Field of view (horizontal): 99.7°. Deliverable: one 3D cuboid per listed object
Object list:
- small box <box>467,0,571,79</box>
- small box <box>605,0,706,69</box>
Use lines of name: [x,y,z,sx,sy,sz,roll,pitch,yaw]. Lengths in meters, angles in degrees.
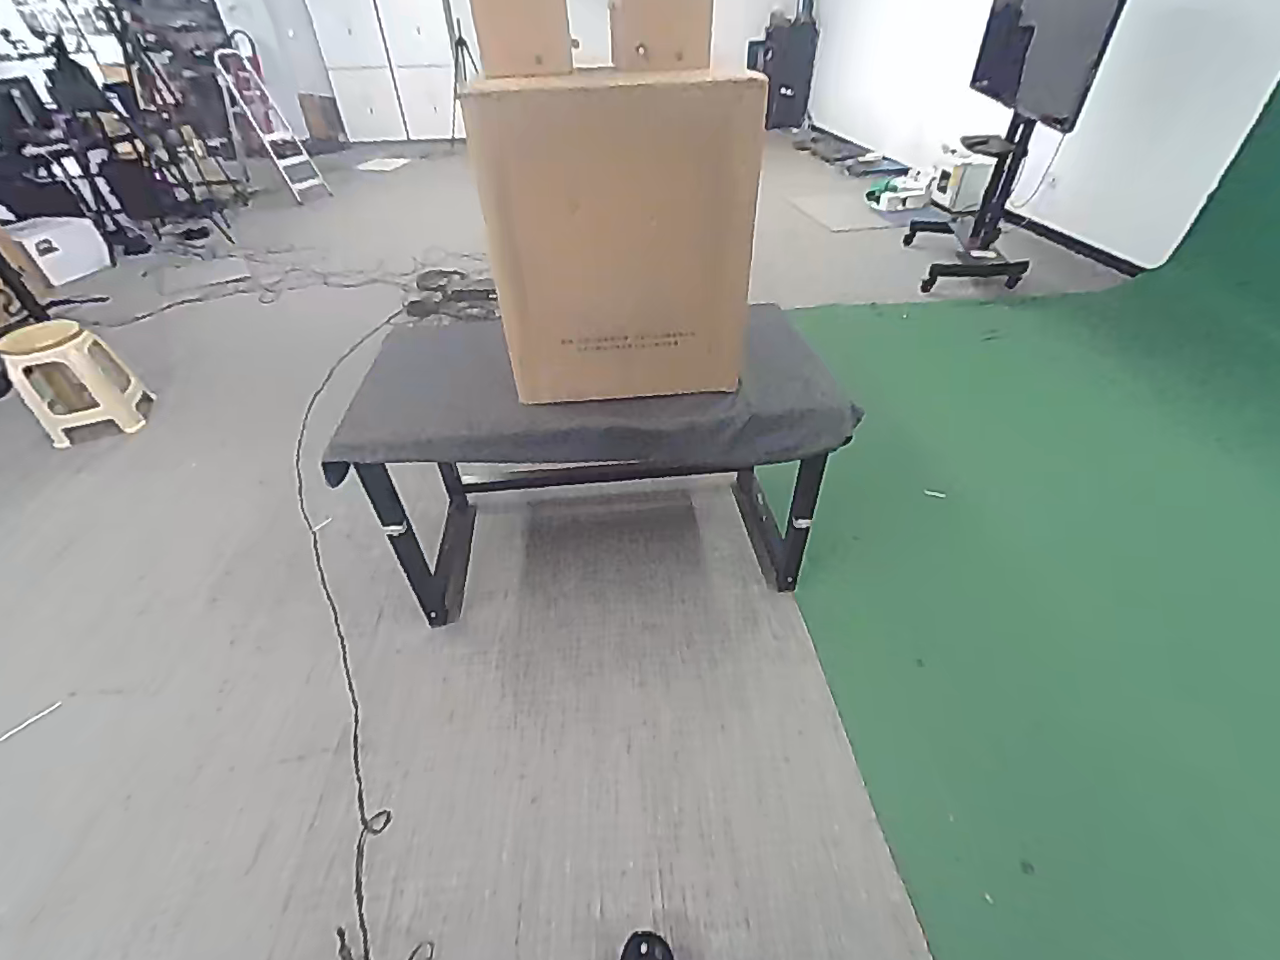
small box: [-0.222,-0.850,0.995,0.168,0.176,0.179,-7,41,-2]
small box: [0.027,-0.877,1.007,0.168,0.176,0.179,-8,42,-6]
